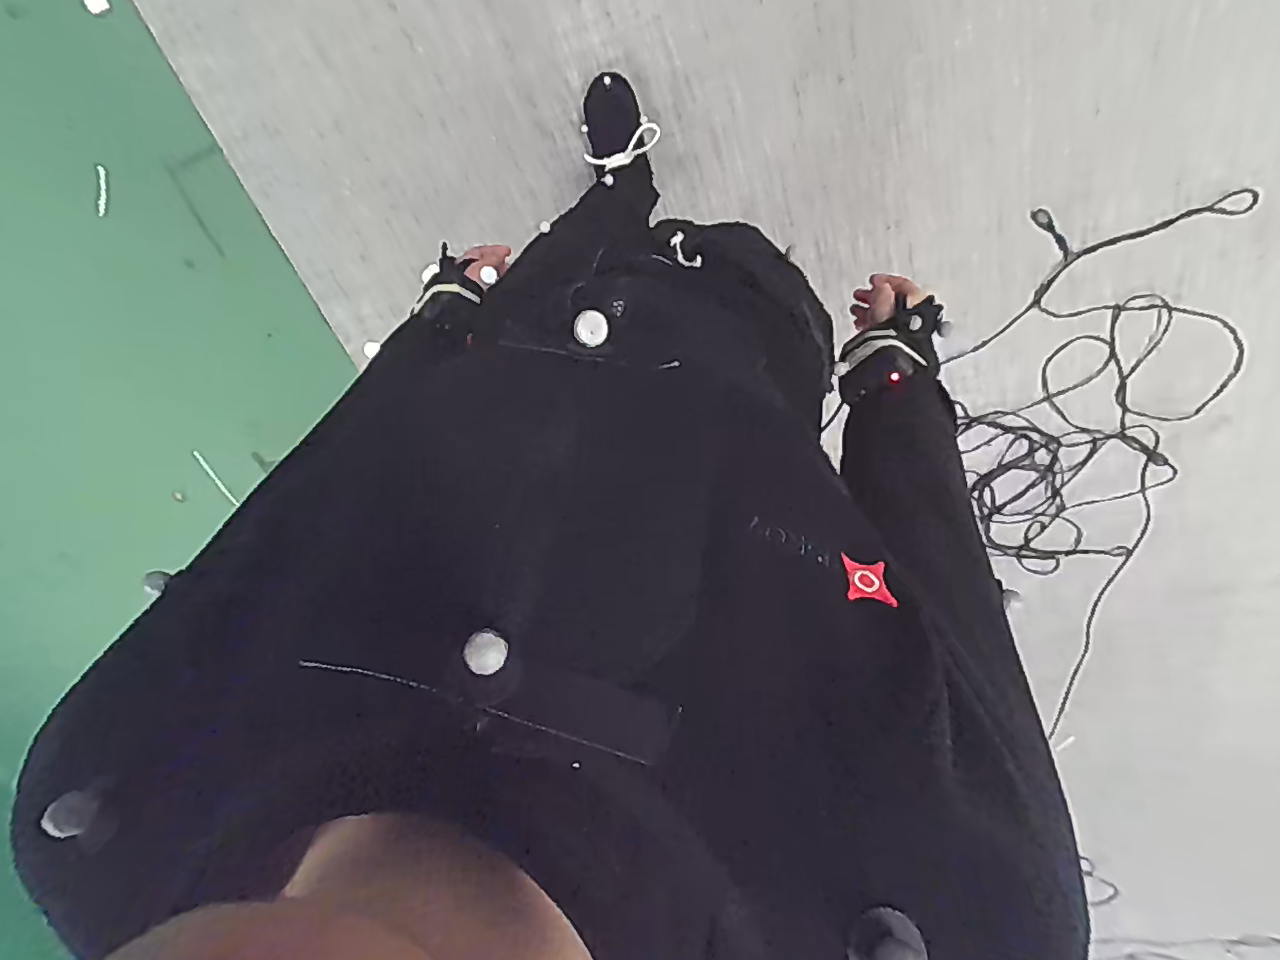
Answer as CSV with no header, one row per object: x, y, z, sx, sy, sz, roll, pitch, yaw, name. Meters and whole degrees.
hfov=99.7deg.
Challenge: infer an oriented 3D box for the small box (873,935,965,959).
0.593,1.078,1.121,0.179,0.176,0.168,-9,119,11,small box
